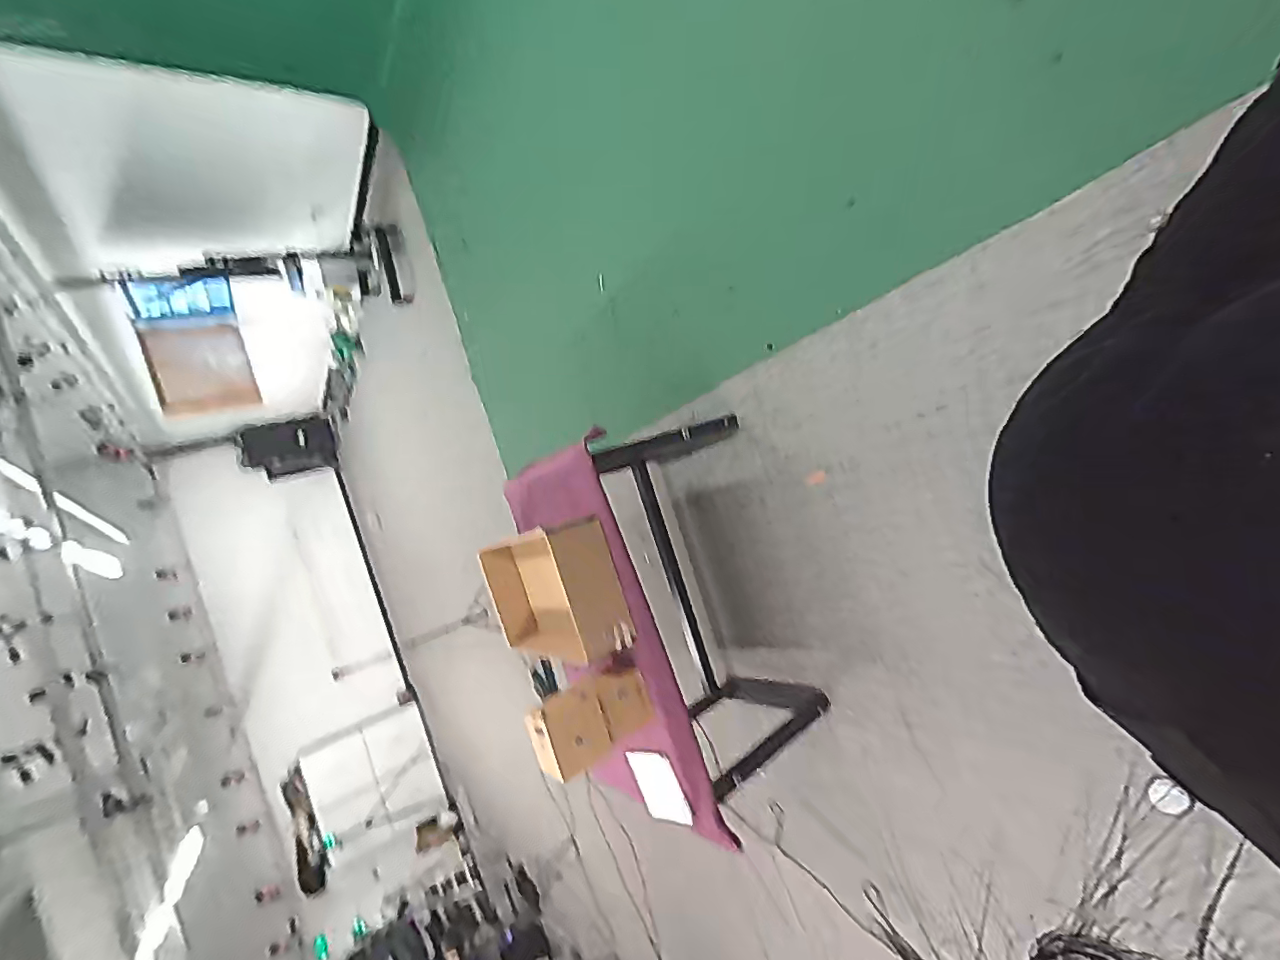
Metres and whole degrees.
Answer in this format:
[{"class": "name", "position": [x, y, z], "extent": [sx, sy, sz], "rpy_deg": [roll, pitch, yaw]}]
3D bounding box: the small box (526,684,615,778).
[{"class": "small box", "position": [-0.199, 0.709, 1.554], "extent": [0.168, 0.176, 0.179], "rpy_deg": [-18, 90, 56]}]

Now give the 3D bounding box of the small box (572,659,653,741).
[{"class": "small box", "position": [-0.078, 0.664, 1.657], "extent": [0.179, 0.176, 0.168], "rpy_deg": [-18, 89, 56]}]
